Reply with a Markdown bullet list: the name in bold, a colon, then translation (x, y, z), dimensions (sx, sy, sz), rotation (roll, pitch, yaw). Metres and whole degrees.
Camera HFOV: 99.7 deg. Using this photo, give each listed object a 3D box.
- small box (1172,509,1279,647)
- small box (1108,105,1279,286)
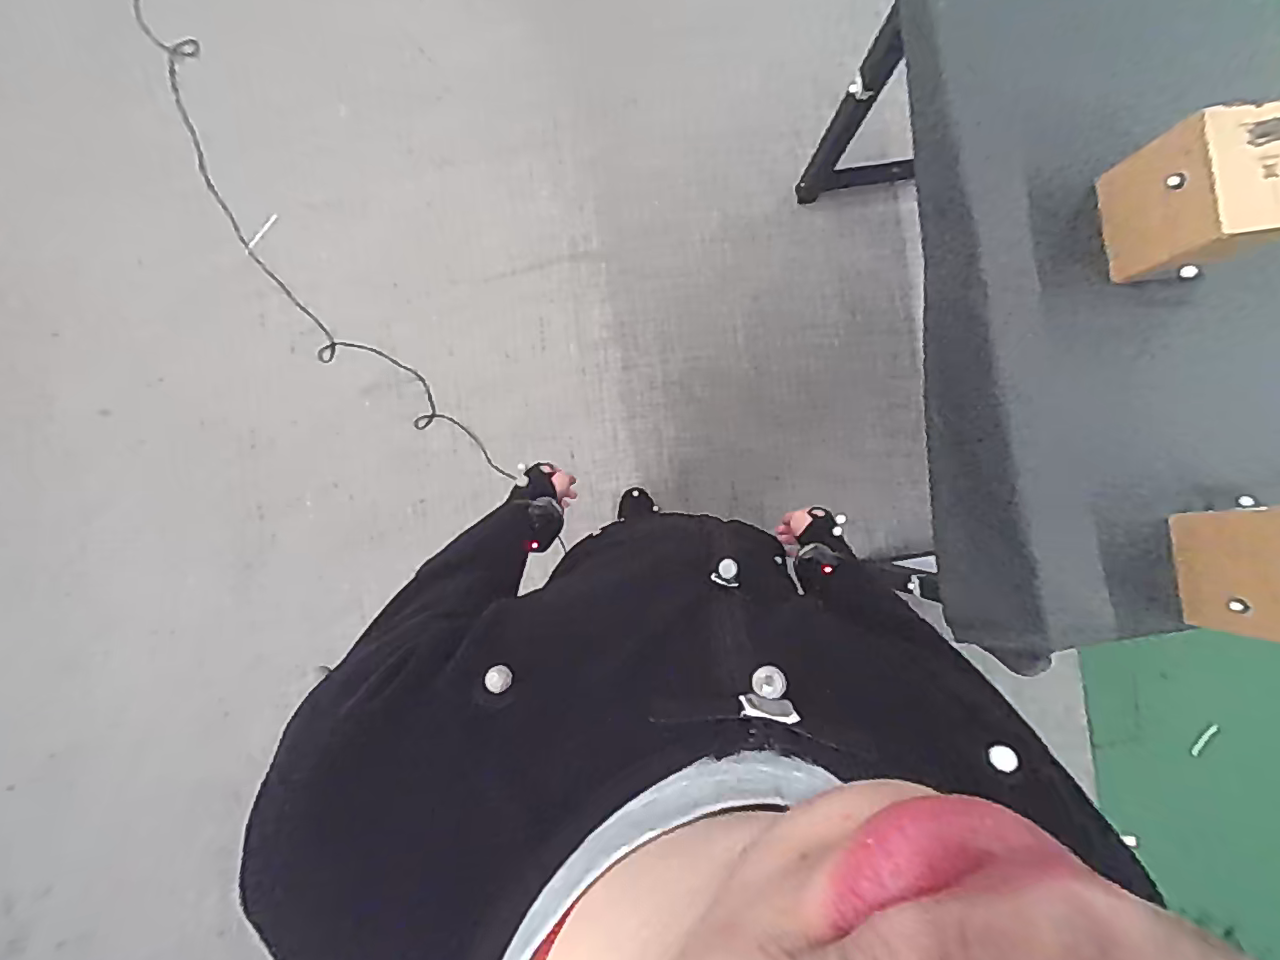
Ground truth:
- **small box**: translation (0.928, 0.135, 0.773), dimensions (0.168, 0.176, 0.179), rotation (-6, 87, -2)
- **small box**: translation (0.839, -0.408, 0.792), dimensions (0.168, 0.176, 0.179), rotation (-7, 89, -1)
